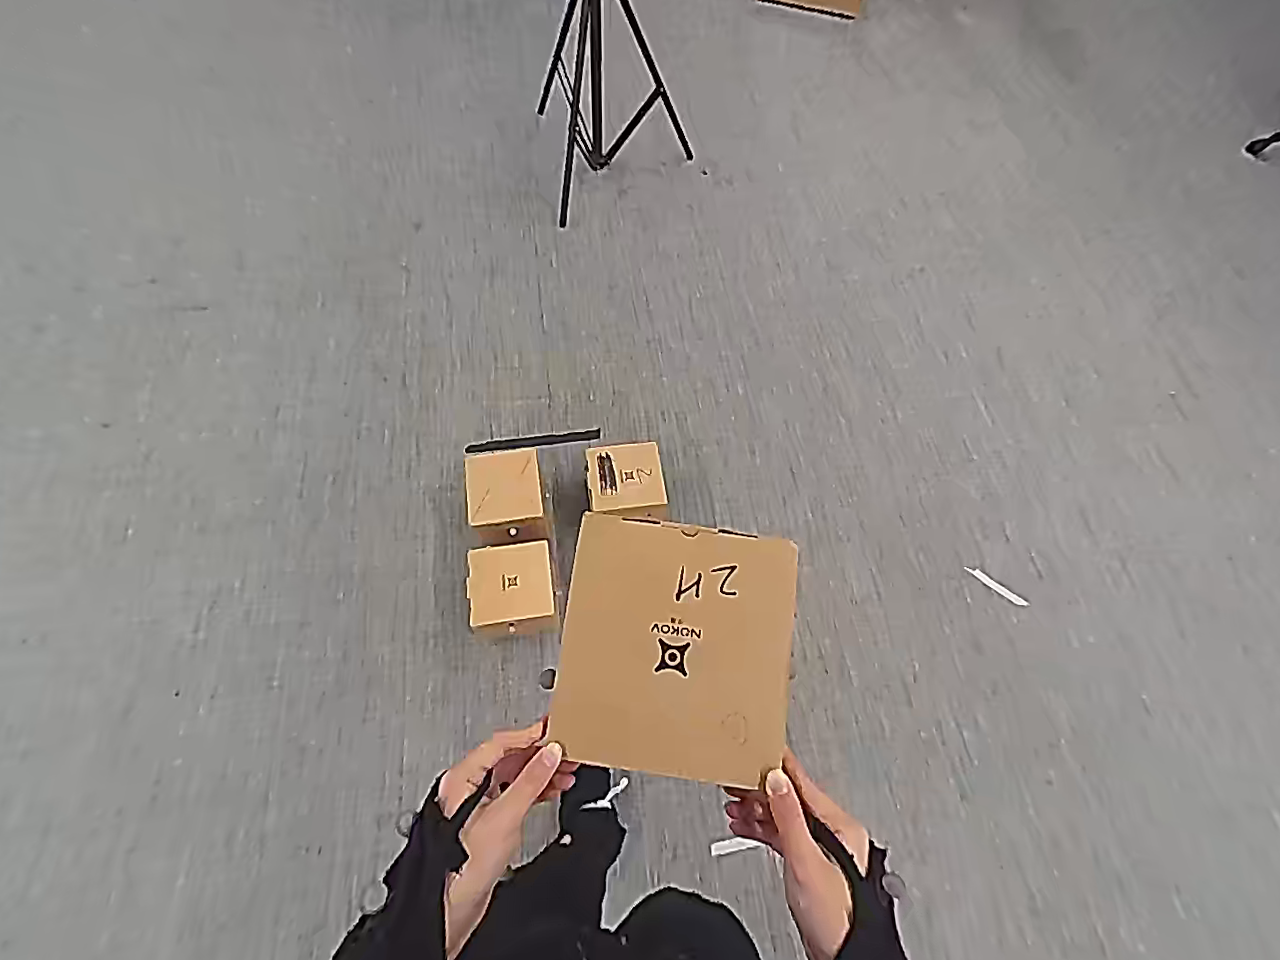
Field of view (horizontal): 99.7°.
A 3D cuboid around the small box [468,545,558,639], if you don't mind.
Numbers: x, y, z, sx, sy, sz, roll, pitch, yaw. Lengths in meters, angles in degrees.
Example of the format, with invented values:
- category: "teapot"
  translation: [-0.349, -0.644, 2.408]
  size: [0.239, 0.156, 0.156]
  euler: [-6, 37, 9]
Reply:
- category: "small box"
  translation: [-0.281, 0.257, 1.224]
  size: [0.179, 0.176, 0.168]
  euler: [-7, 66, -6]

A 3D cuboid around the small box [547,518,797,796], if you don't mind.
- category: "small box"
  translation: [0.028, 0.141, 0.471]
  size: [0.168, 0.176, 0.179]
  euler: [8, 77, 2]
